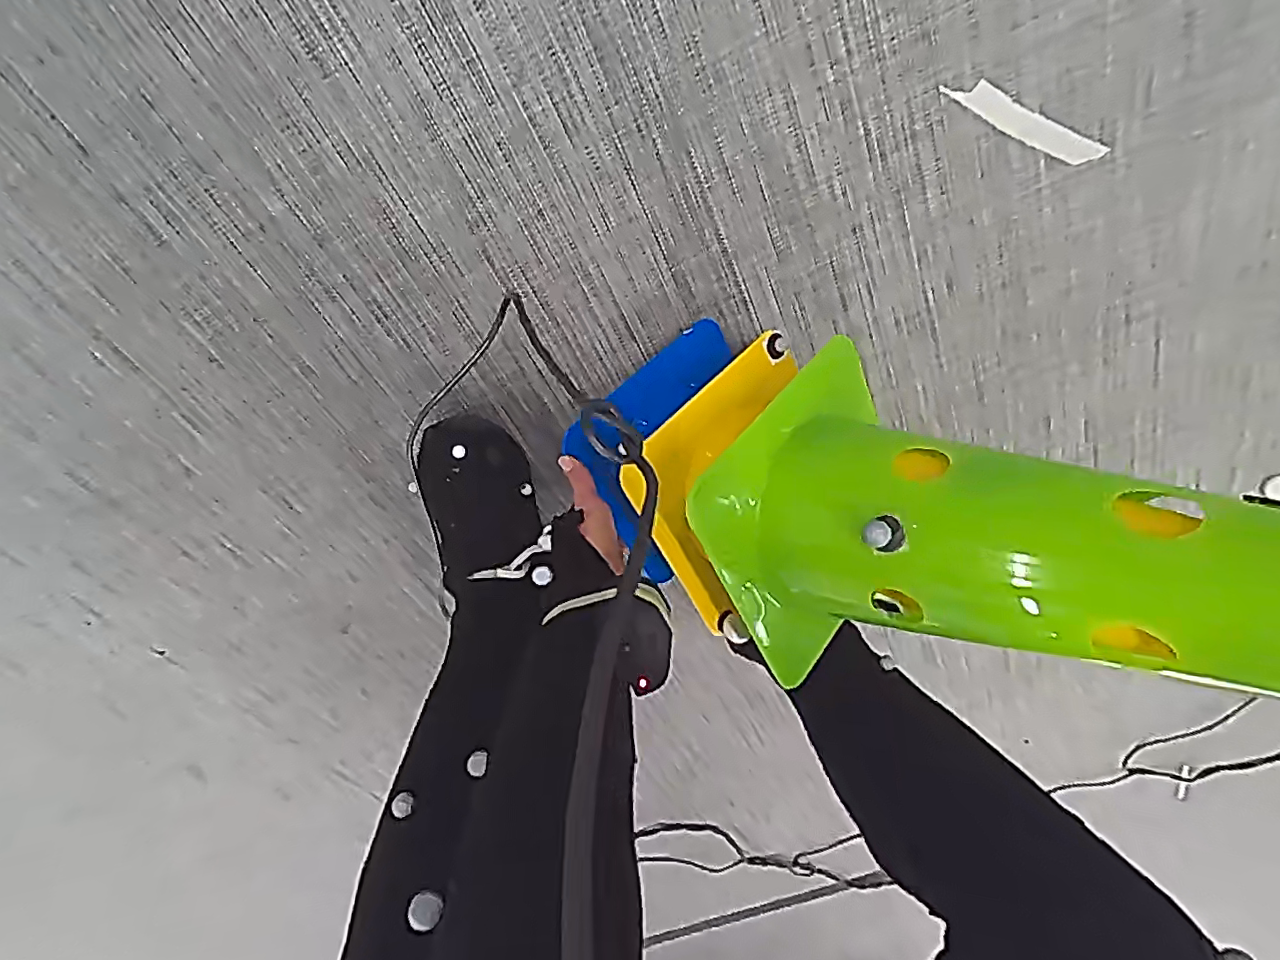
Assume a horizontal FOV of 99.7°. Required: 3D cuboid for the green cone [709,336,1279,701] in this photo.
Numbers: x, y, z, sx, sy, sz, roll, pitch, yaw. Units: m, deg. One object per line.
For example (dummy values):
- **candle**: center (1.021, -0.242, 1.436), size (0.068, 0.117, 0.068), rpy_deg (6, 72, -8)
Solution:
- **green cone**: center (0.244, 0.045, 0.257), size (0.202, 0.368, 0.200), rpy_deg (-45, 120, -23)
